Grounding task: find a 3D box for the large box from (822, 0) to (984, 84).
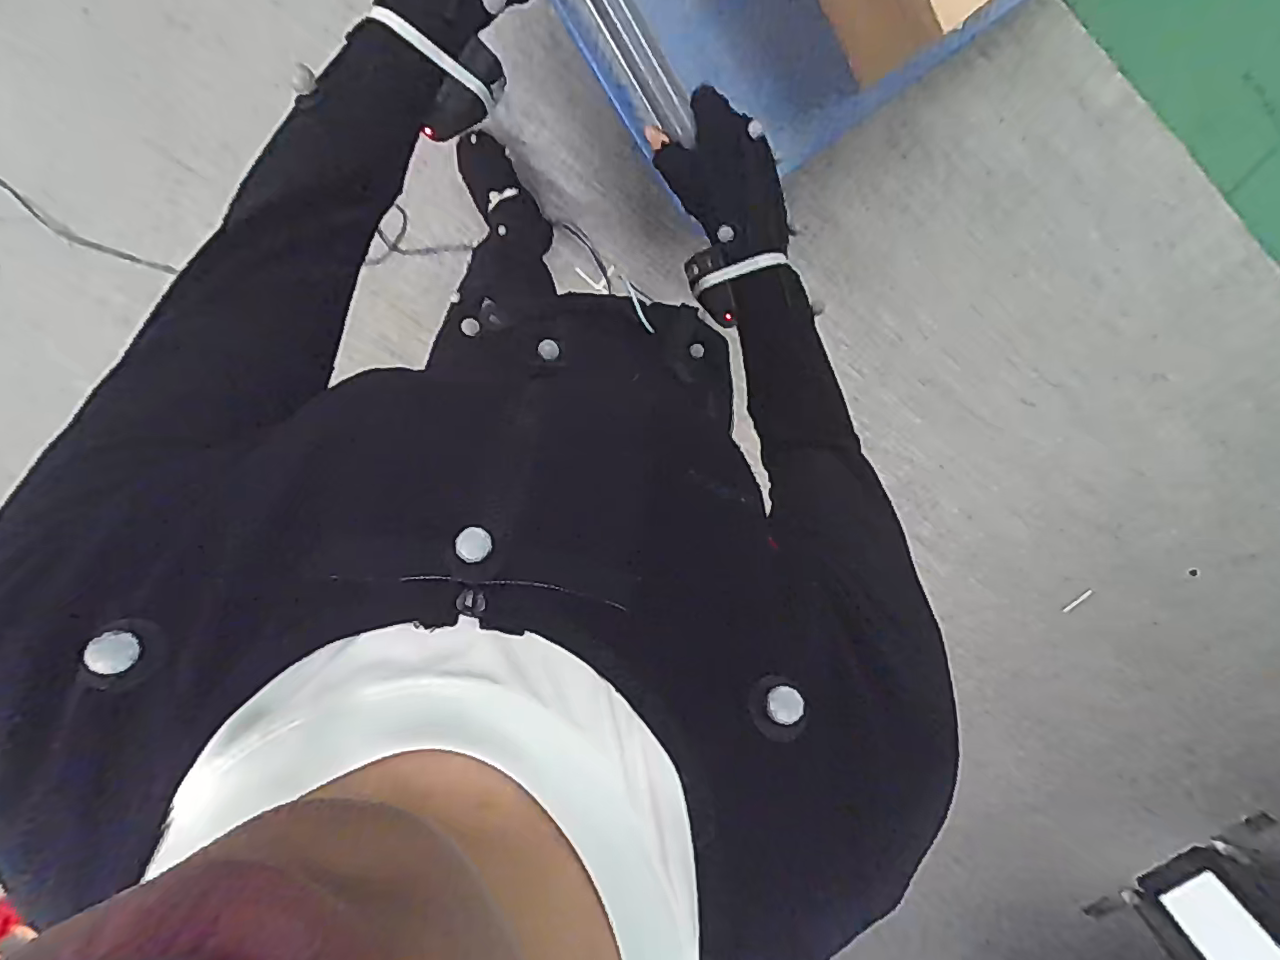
[{"bbox_3d":[0.411,-0.892,0.766,0.320,0.320,0.408,-35,109,15],"label":"large box"}]
